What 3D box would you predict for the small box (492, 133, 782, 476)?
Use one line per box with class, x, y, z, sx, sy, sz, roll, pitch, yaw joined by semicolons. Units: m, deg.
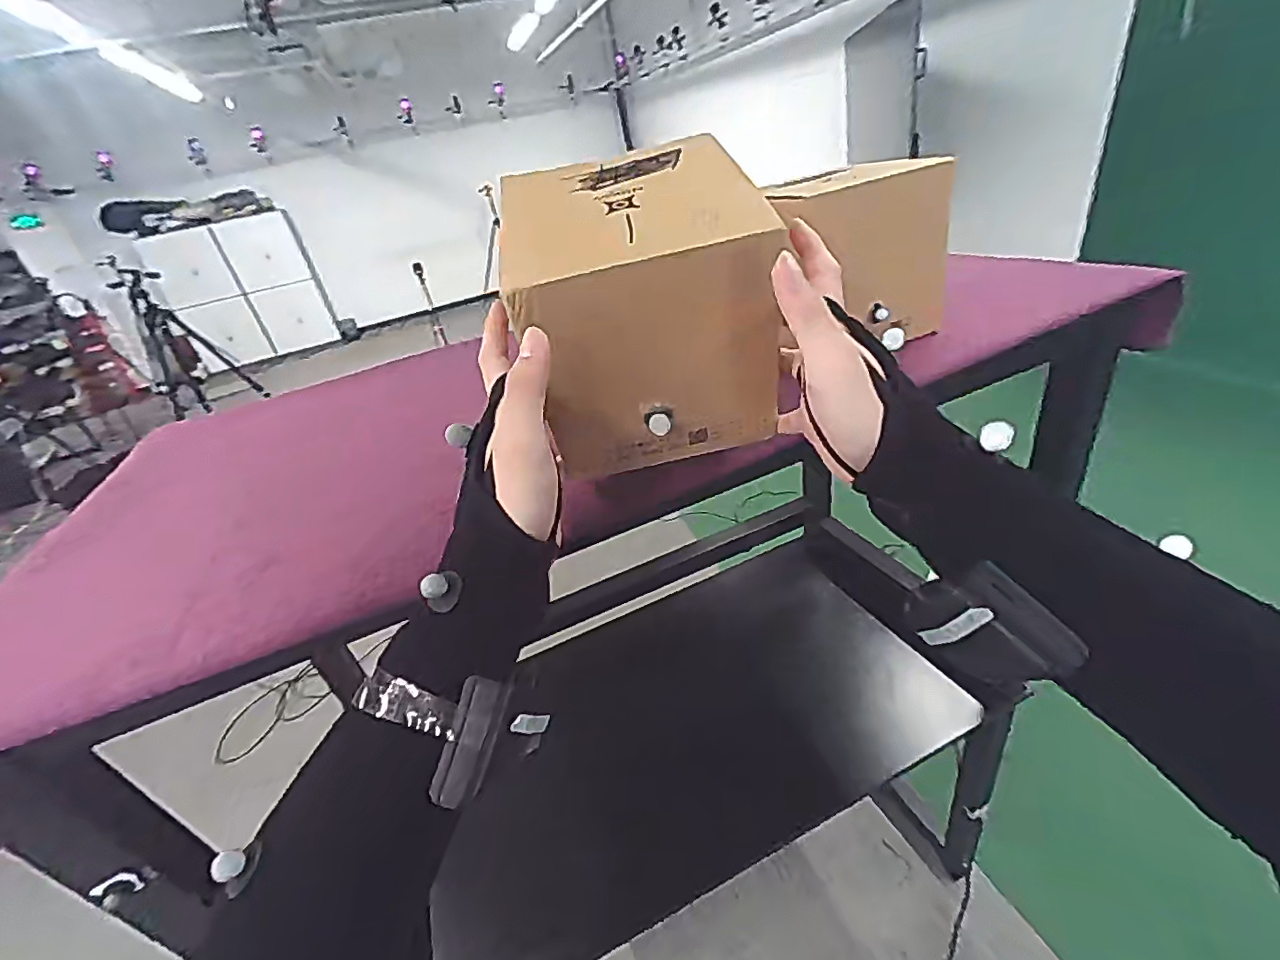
small box;-0.002;-0.131;0.411;0.168;0.176;0.179;-12;49;1
